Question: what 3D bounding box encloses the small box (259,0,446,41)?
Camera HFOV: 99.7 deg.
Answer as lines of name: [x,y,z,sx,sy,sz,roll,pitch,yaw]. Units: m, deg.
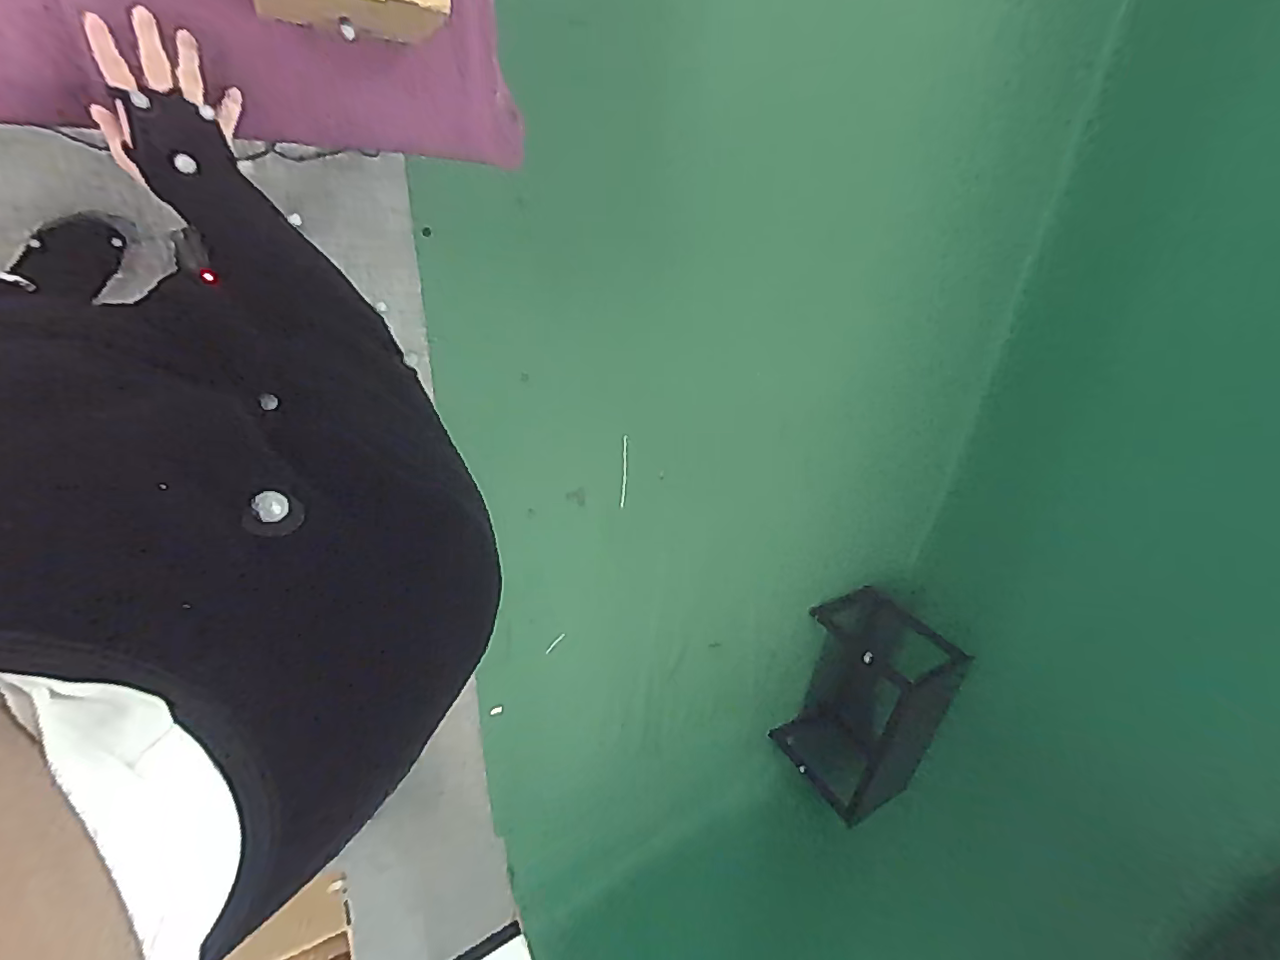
small box: [-0.293,-0.554,0.511,0.168,0.176,0.179,-12,122,-28]
